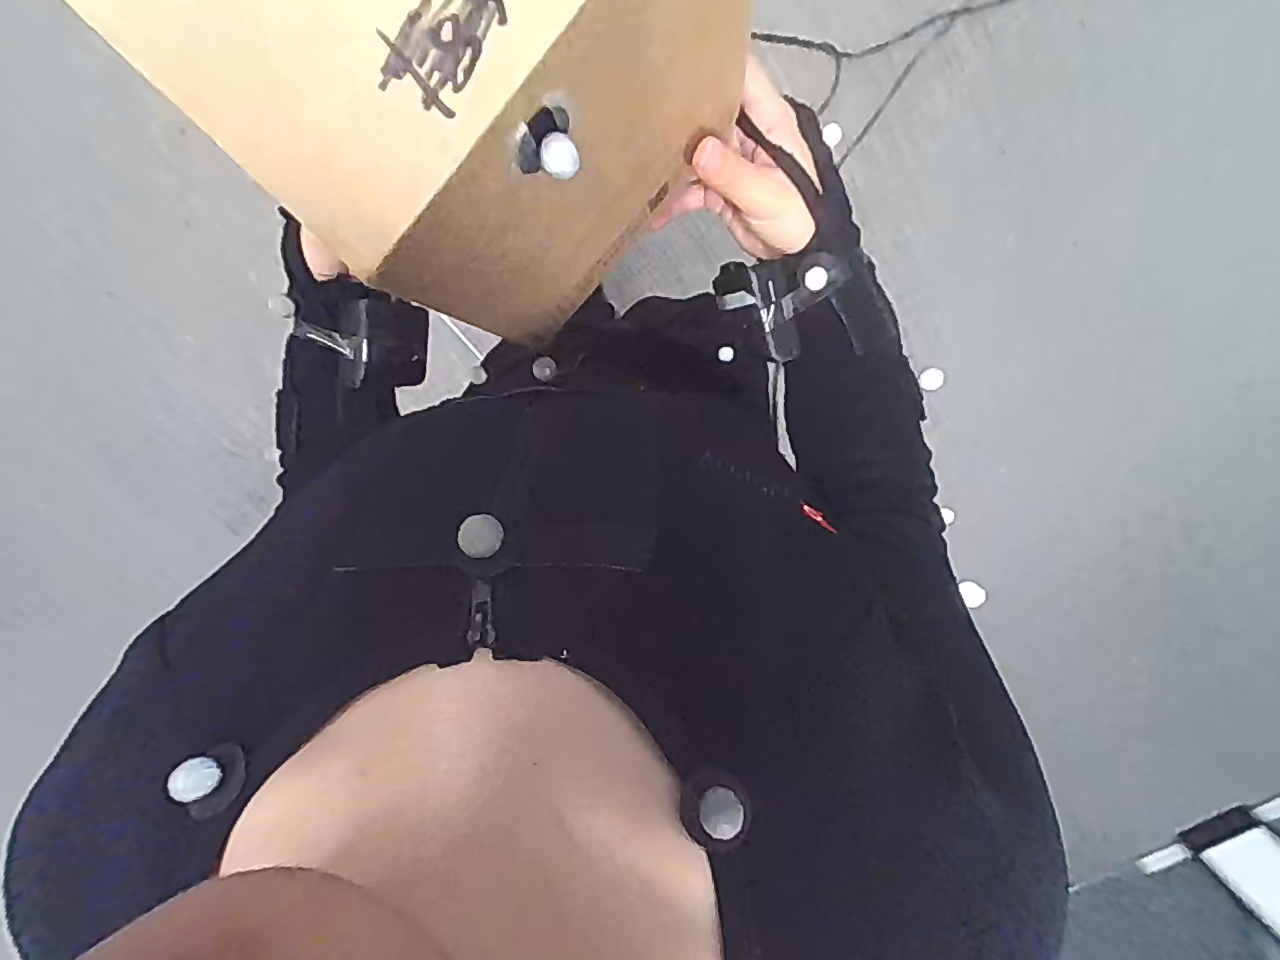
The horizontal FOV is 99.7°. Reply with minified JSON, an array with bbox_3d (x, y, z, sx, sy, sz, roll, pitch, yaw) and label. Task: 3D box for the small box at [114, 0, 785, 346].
[{"bbox_3d":[-0.062,-0.178,0.229,0.179,0.176,0.168,44,99,0],"label":"small box"}]
